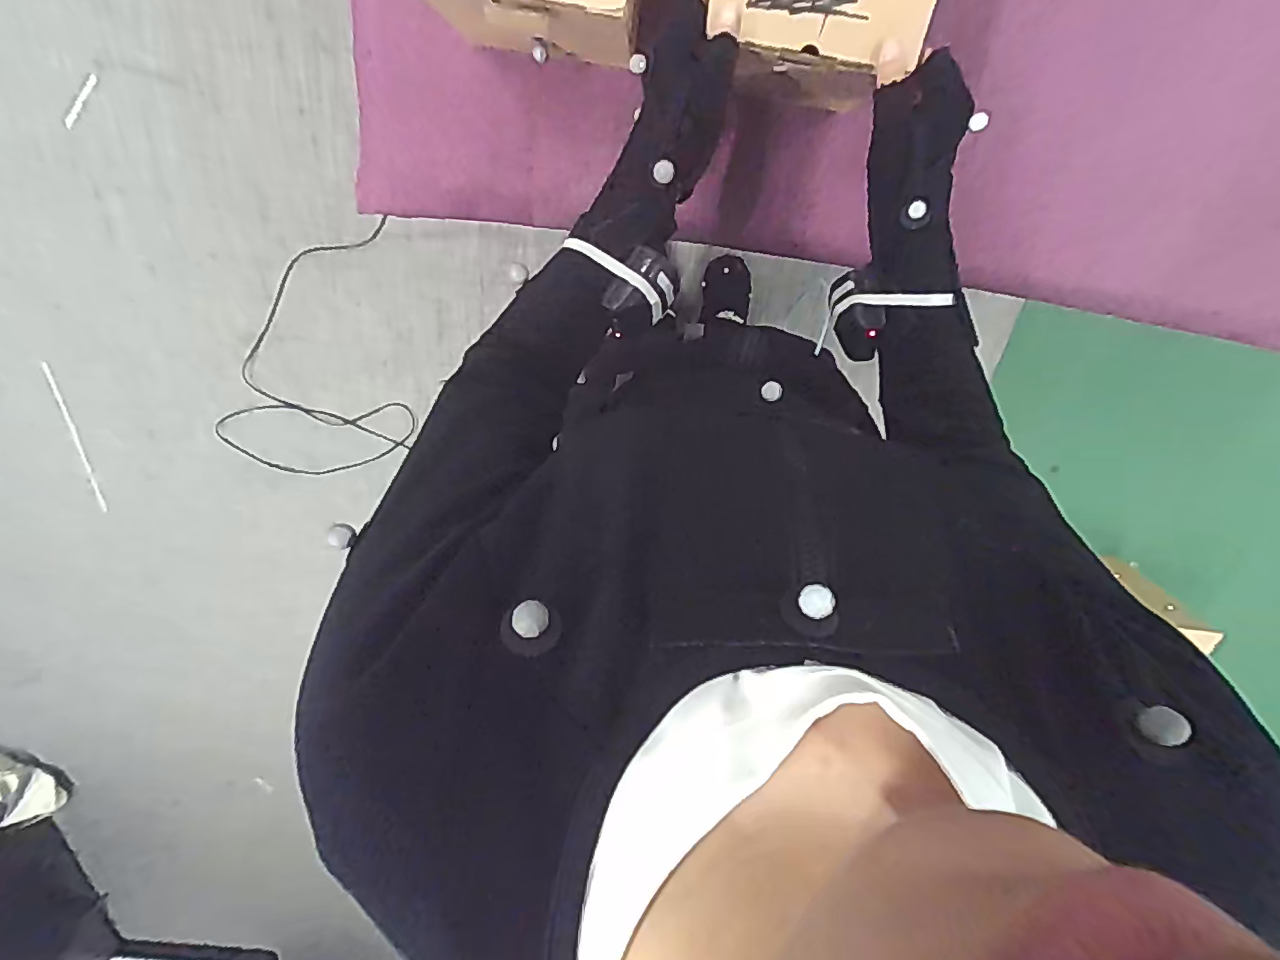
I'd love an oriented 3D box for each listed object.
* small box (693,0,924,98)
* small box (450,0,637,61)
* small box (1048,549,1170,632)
[{"bbox_3d":[0.140,-0.441,0.445,0.168,0.176,0.179,8,116,-3],"label":"small box"},{"bbox_3d":[-0.080,-0.475,0.433,0.168,0.176,0.179,8,117,-2],"label":"small box"},{"bbox_3d":[1.378,0.323,1.604,0.179,0.176,0.168,8,117,-1],"label":"small box"}]
